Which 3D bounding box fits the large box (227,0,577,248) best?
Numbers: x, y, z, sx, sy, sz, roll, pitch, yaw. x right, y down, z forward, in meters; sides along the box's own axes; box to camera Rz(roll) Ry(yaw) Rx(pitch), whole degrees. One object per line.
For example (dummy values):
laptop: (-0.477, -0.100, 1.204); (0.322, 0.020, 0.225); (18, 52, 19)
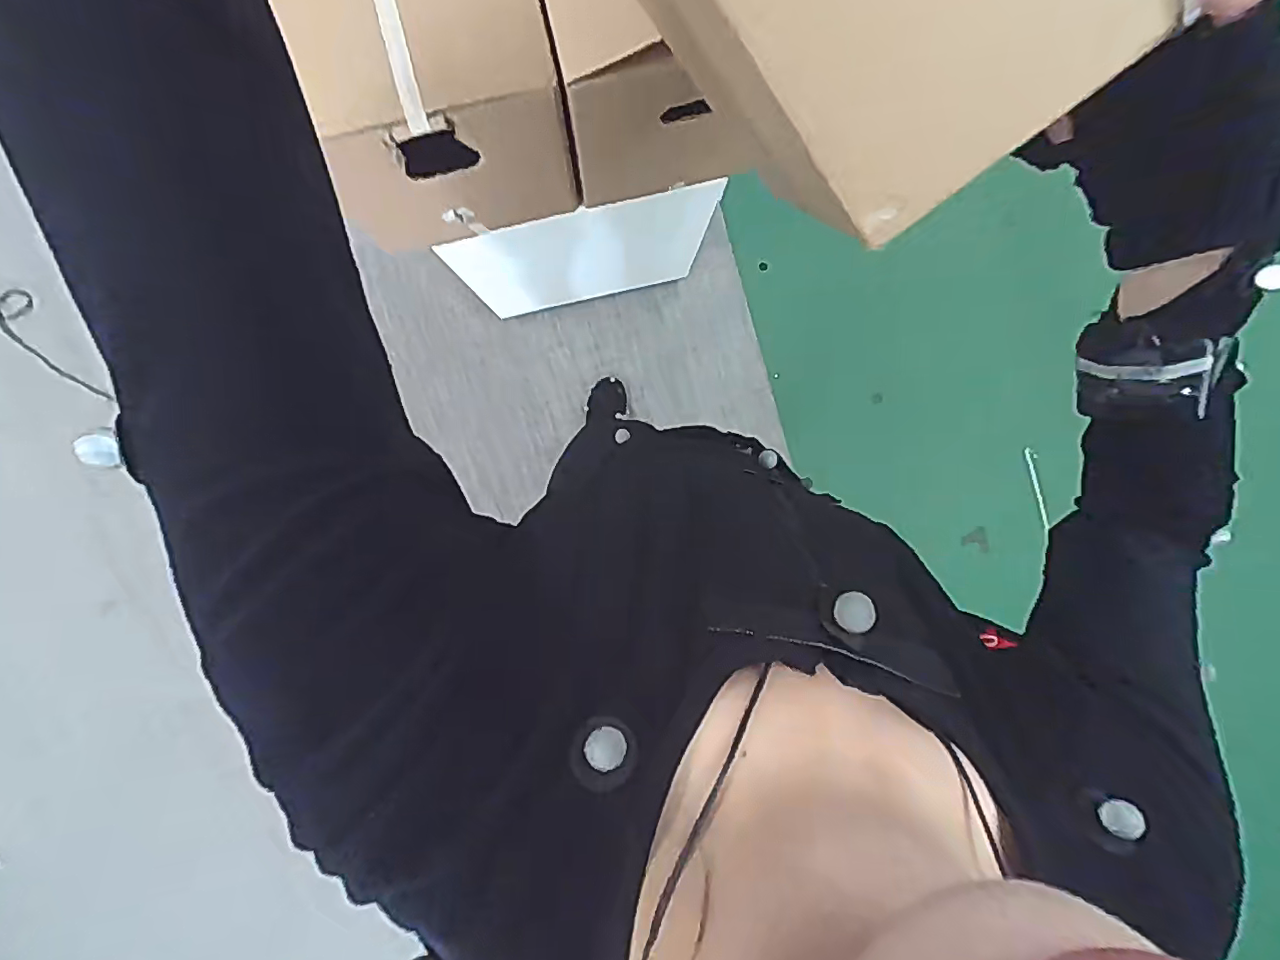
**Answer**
large box: (-0.292, -0.586, 0.702); (0.320, 0.320, 0.408); (-14, 94, -1)
